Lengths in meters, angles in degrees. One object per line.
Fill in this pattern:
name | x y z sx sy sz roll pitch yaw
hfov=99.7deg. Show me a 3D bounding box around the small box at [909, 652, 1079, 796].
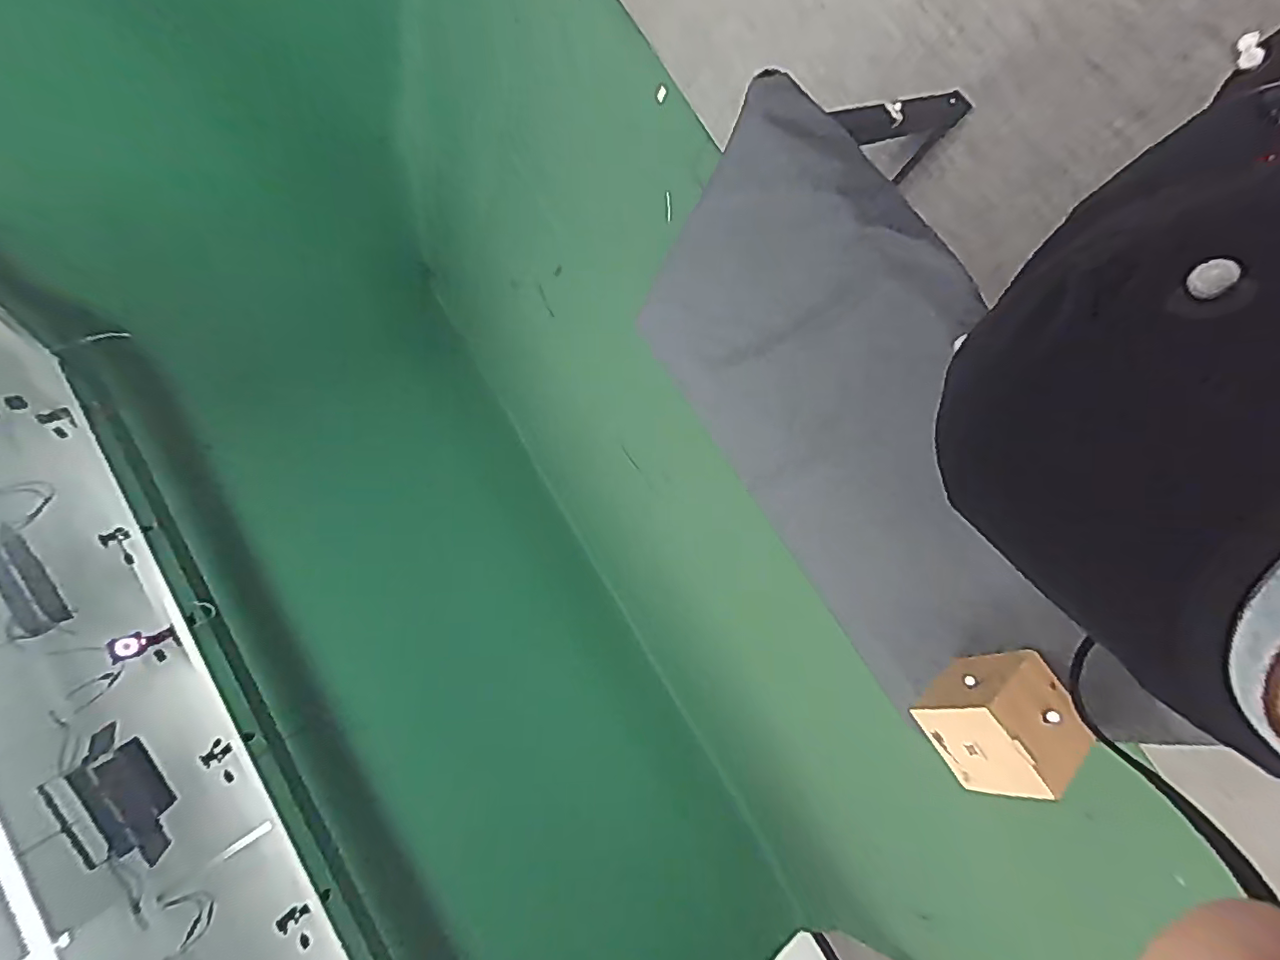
small box | 0.636 0.429 0.967 0.168 0.176 0.179 56 150 10
